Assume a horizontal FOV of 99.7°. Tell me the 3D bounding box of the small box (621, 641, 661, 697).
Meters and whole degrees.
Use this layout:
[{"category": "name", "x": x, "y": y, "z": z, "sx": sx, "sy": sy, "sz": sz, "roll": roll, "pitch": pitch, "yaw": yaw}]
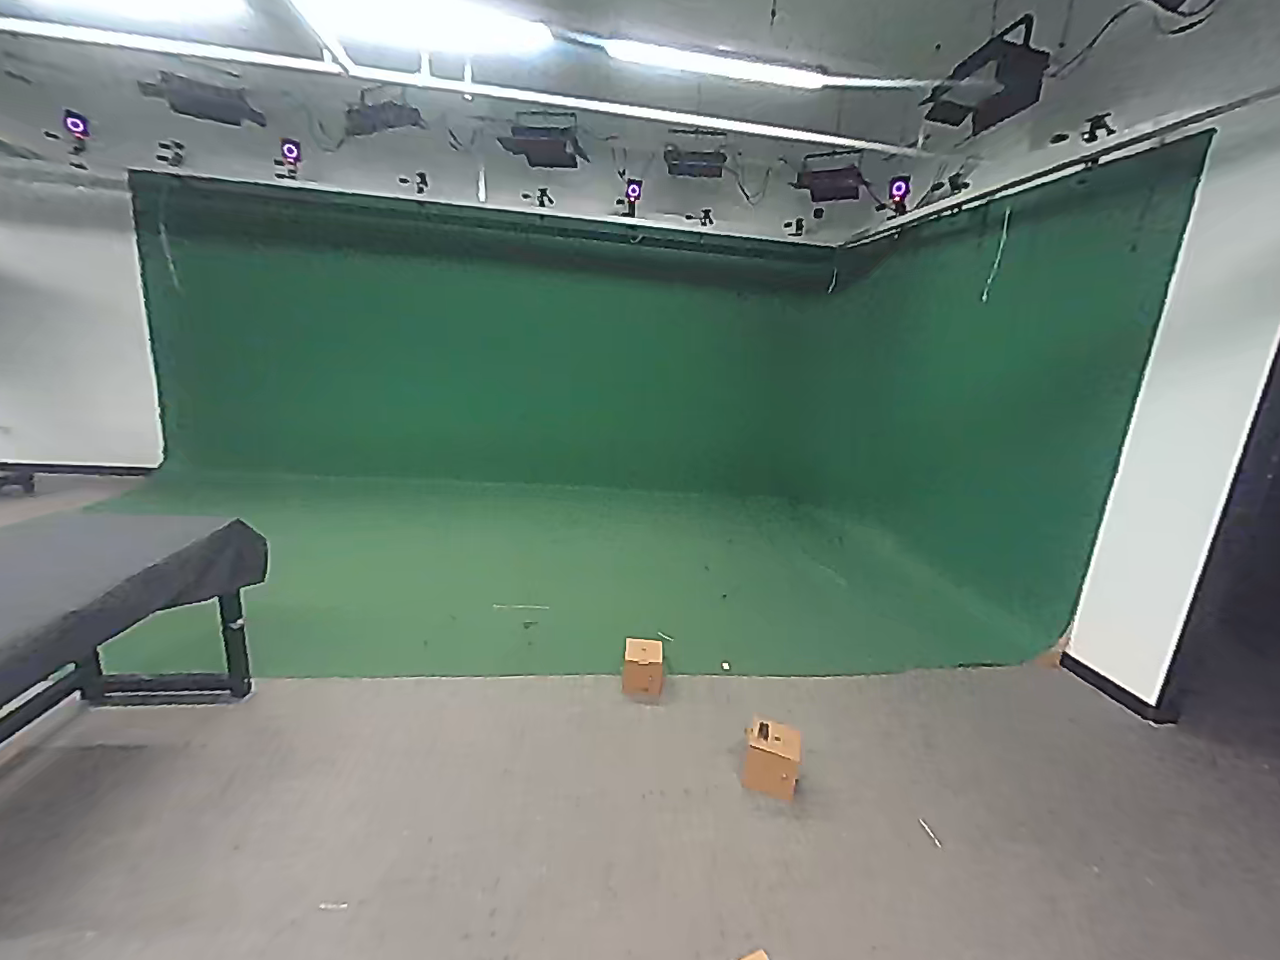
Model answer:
[{"category": "small box", "x": 0.005, "y": 0.842, "z": 2.410, "sx": 0.168, "sy": 0.176, "sz": 0.179, "roll": 6, "pitch": 13, "yaw": -1}]
